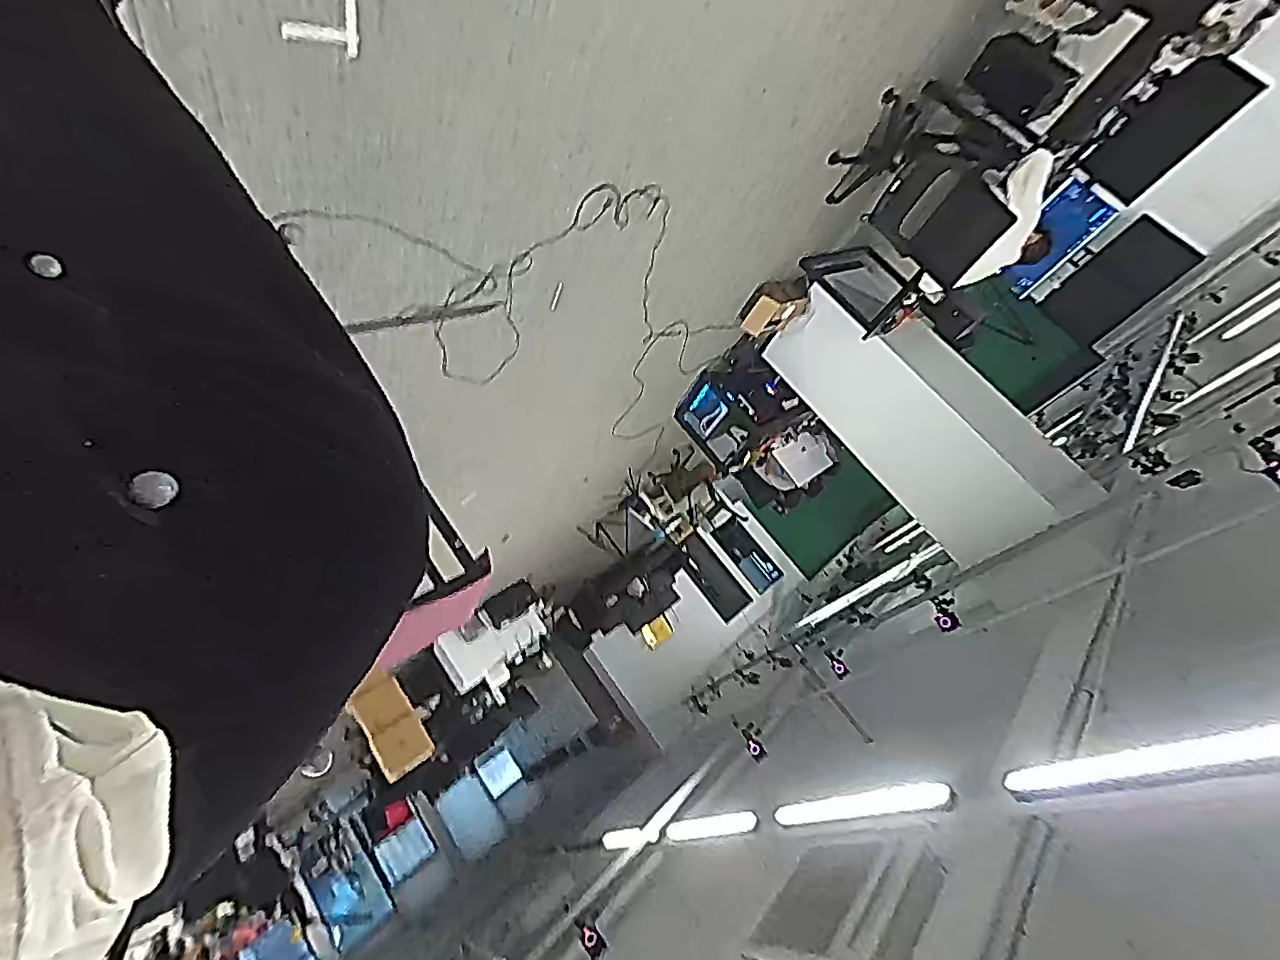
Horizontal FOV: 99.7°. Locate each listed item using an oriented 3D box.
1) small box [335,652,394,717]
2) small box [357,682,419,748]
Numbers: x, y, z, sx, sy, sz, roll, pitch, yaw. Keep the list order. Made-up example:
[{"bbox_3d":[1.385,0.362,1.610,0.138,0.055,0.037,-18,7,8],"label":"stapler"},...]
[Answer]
[{"bbox_3d":[-1.146,0.847,2.245,0.179,0.176,0.168,-27,163,-36],"label":"small box"},{"bbox_3d":[-1.030,0.957,2.209,0.179,0.176,0.168,-27,162,-36],"label":"small box"}]
